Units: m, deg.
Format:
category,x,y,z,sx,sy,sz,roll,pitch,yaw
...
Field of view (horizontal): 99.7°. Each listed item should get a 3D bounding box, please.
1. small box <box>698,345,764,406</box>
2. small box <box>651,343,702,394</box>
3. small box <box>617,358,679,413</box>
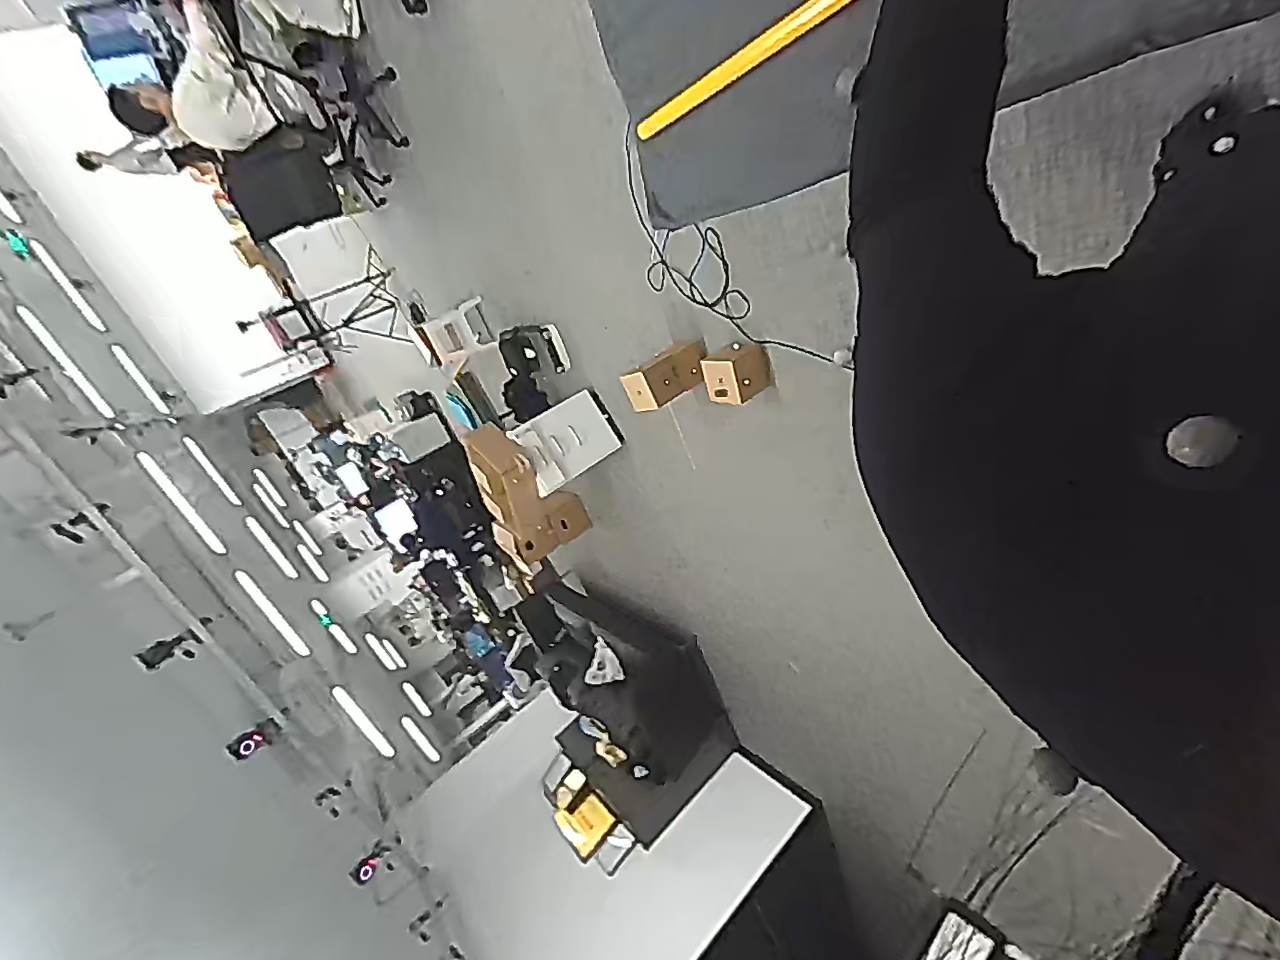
category,x,y,z,sx,sy,sz,roll,pitch,yaw
small box,0.354,-0.404,2.081,0.168,0.176,0.179,18,135,50
small box,0.159,-0.476,2.321,0.179,0.176,0.168,7,128,57
small box,0.042,-0.394,2.239,0.179,0.176,0.168,5,126,58
